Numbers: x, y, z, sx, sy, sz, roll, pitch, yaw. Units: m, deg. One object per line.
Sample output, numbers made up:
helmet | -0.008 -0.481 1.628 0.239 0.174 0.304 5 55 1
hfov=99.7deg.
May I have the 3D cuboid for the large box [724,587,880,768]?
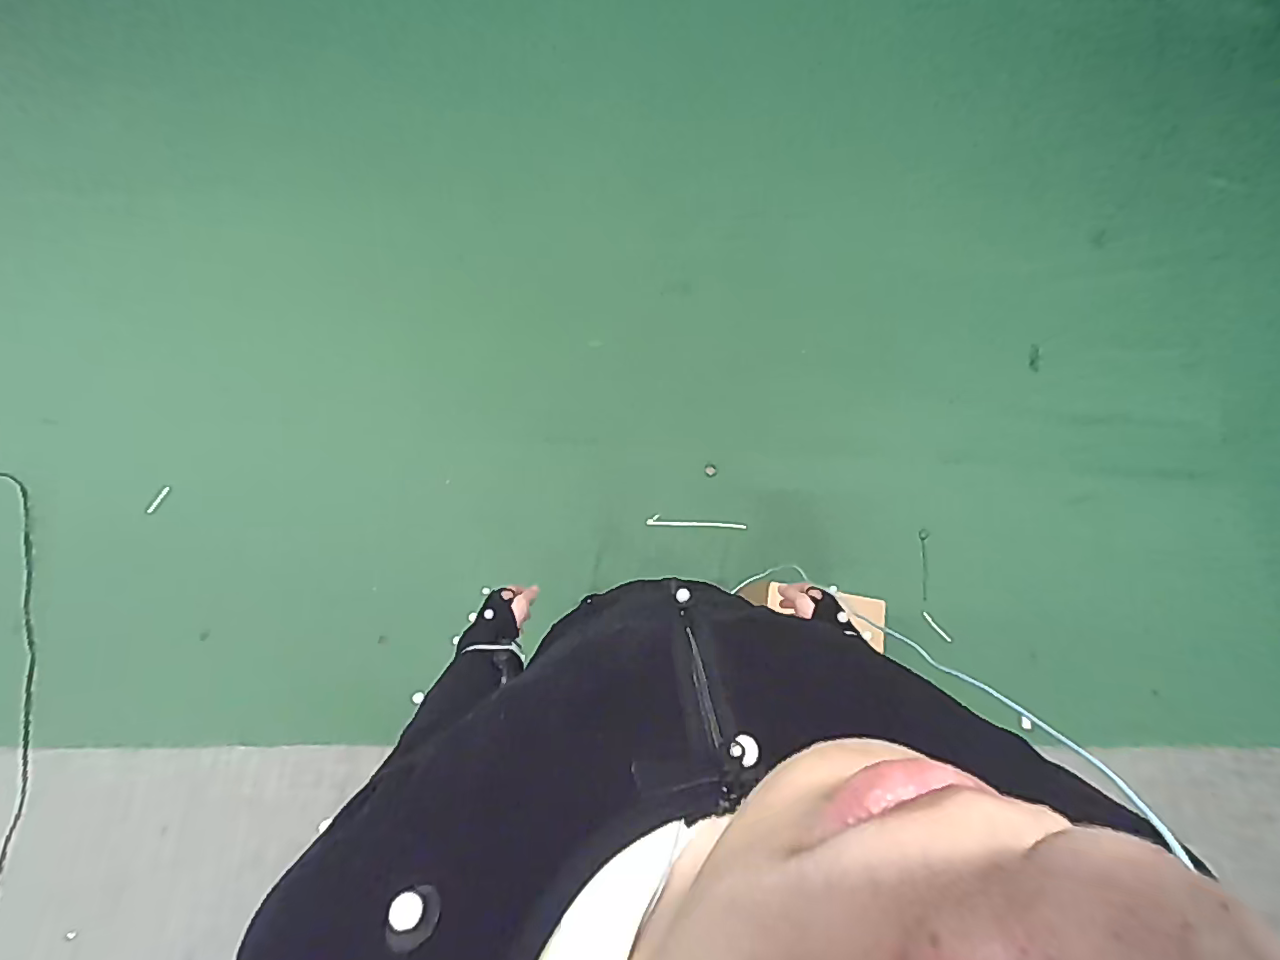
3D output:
large box | 0.433 0.516 1.494 0.320 0.320 0.408 10 77 -2
